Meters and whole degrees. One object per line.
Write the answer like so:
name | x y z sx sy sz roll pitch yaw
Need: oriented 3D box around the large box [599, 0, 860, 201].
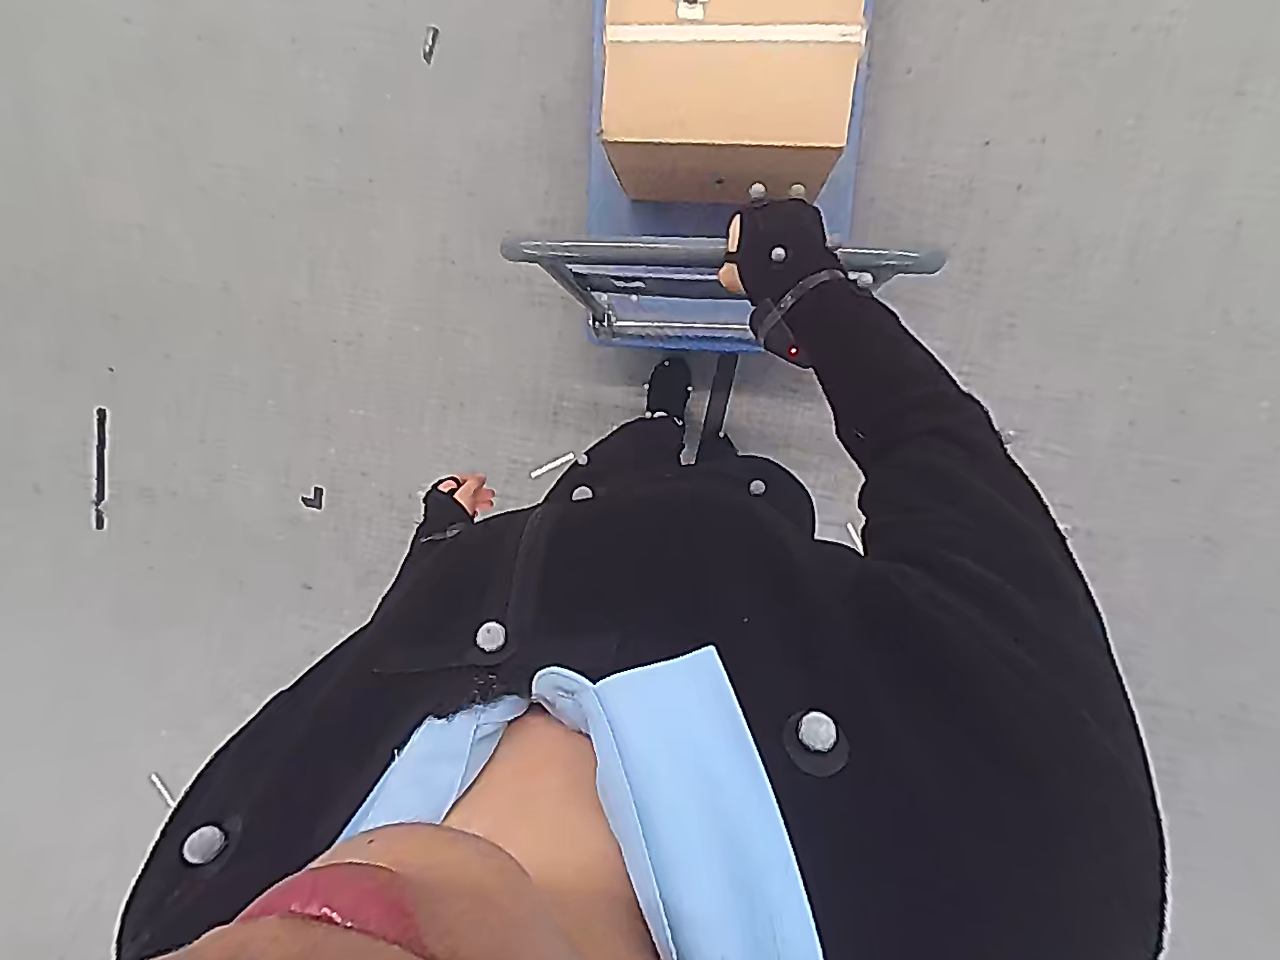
large box | 0.158 -0.726 0.995 0.408 0.320 0.320 6 100 7
